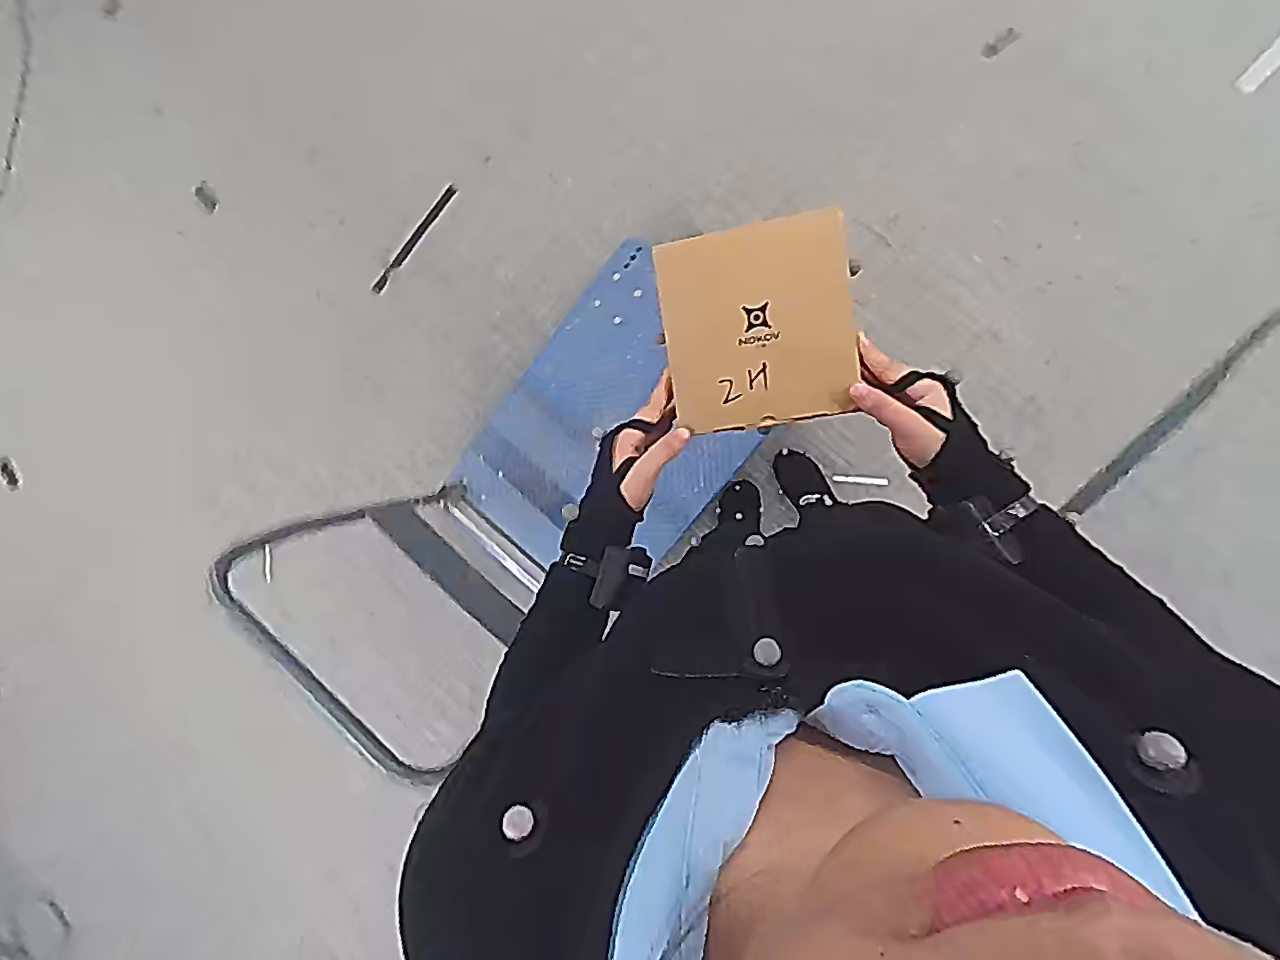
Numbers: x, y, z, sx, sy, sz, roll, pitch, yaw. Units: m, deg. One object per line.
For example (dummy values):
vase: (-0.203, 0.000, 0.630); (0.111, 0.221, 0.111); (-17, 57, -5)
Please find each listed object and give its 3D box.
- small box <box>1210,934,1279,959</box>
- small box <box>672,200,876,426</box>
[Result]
small box: (1.466, 1.199, 1.223); (0.179, 0.176, 0.168); (40, 99, 7)
small box: (0.128, -0.150, 0.548); (0.168, 0.176, 0.179); (-6, 97, 11)
